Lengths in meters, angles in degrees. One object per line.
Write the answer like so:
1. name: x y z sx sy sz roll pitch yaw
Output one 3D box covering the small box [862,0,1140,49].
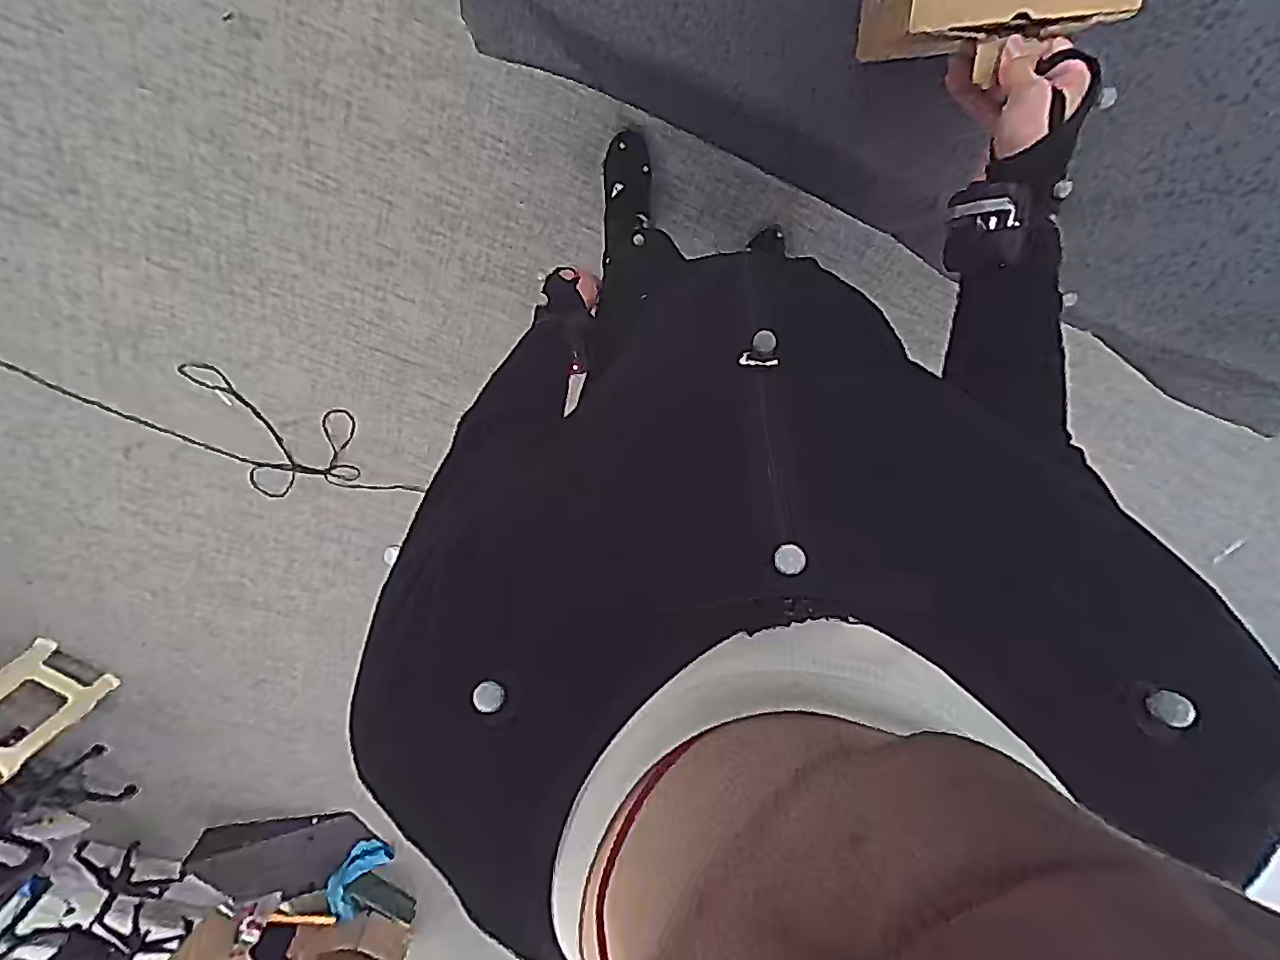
1. small box: 0.290 -0.462 0.429 0.168 0.176 0.179 0 122 5
